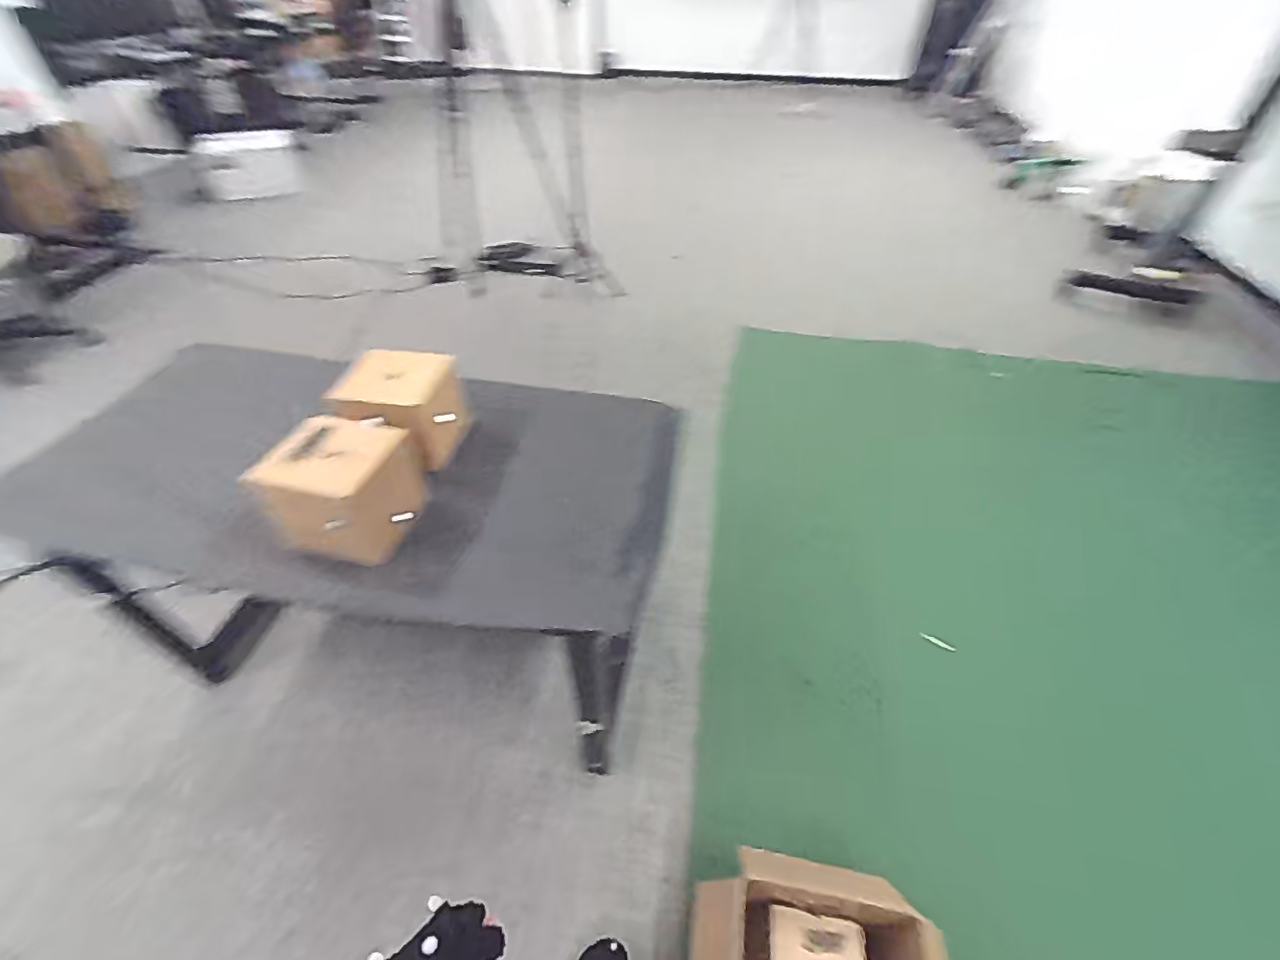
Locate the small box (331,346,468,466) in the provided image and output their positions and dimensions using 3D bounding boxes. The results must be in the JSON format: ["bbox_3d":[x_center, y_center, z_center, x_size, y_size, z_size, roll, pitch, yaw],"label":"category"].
[{"bbox_3d":[-0.465,-0.146,1.084,0.179,0.176,0.168,6,46,6],"label":"small box"}]
